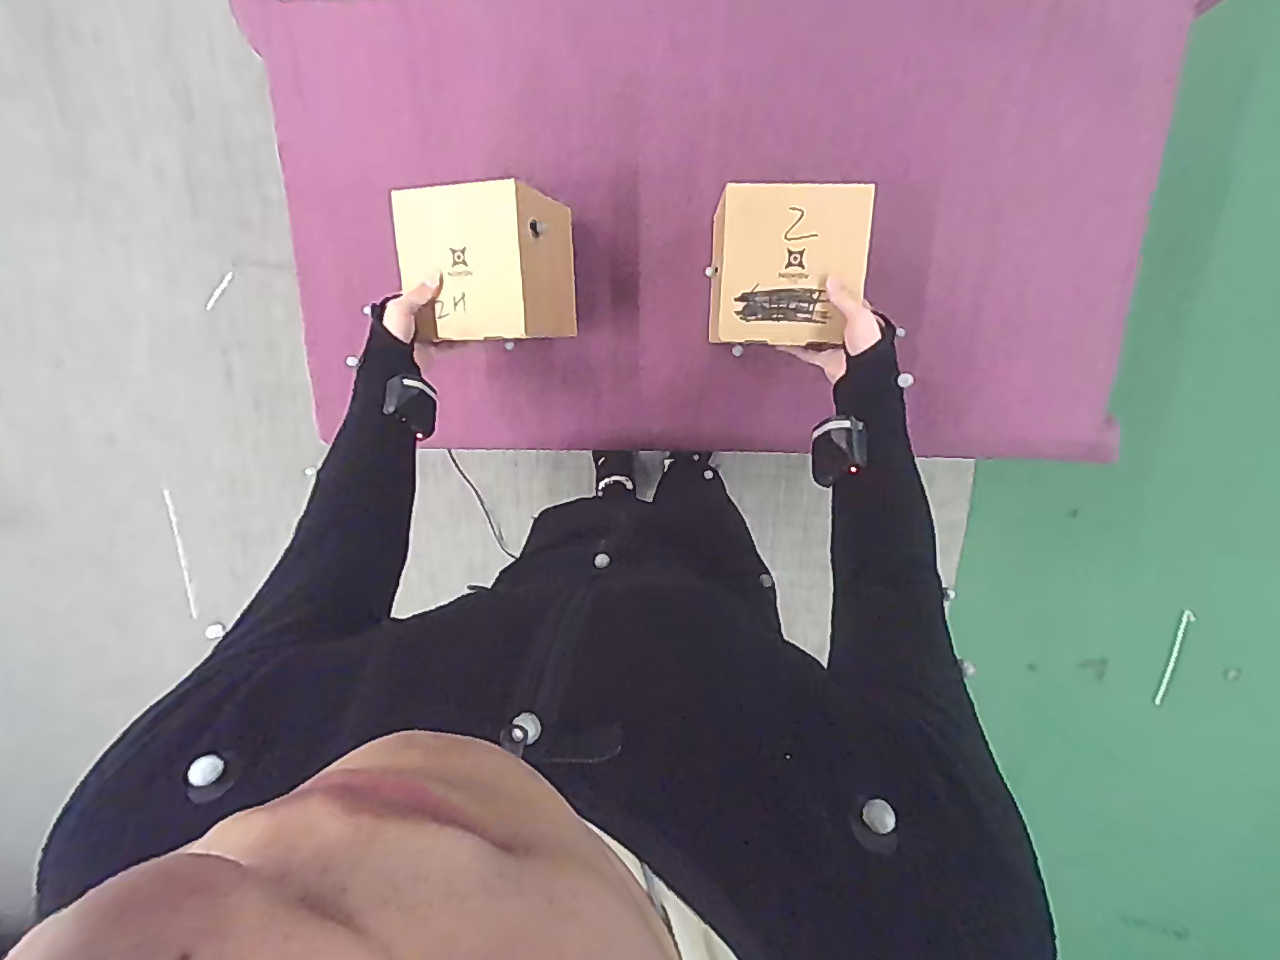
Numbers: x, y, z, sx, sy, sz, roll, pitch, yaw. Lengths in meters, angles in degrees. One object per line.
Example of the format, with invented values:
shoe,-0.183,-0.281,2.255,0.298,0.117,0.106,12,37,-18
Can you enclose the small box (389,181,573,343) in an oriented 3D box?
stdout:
small box,-0.196,-0.272,0.712,0.168,0.176,0.179,3,107,15
